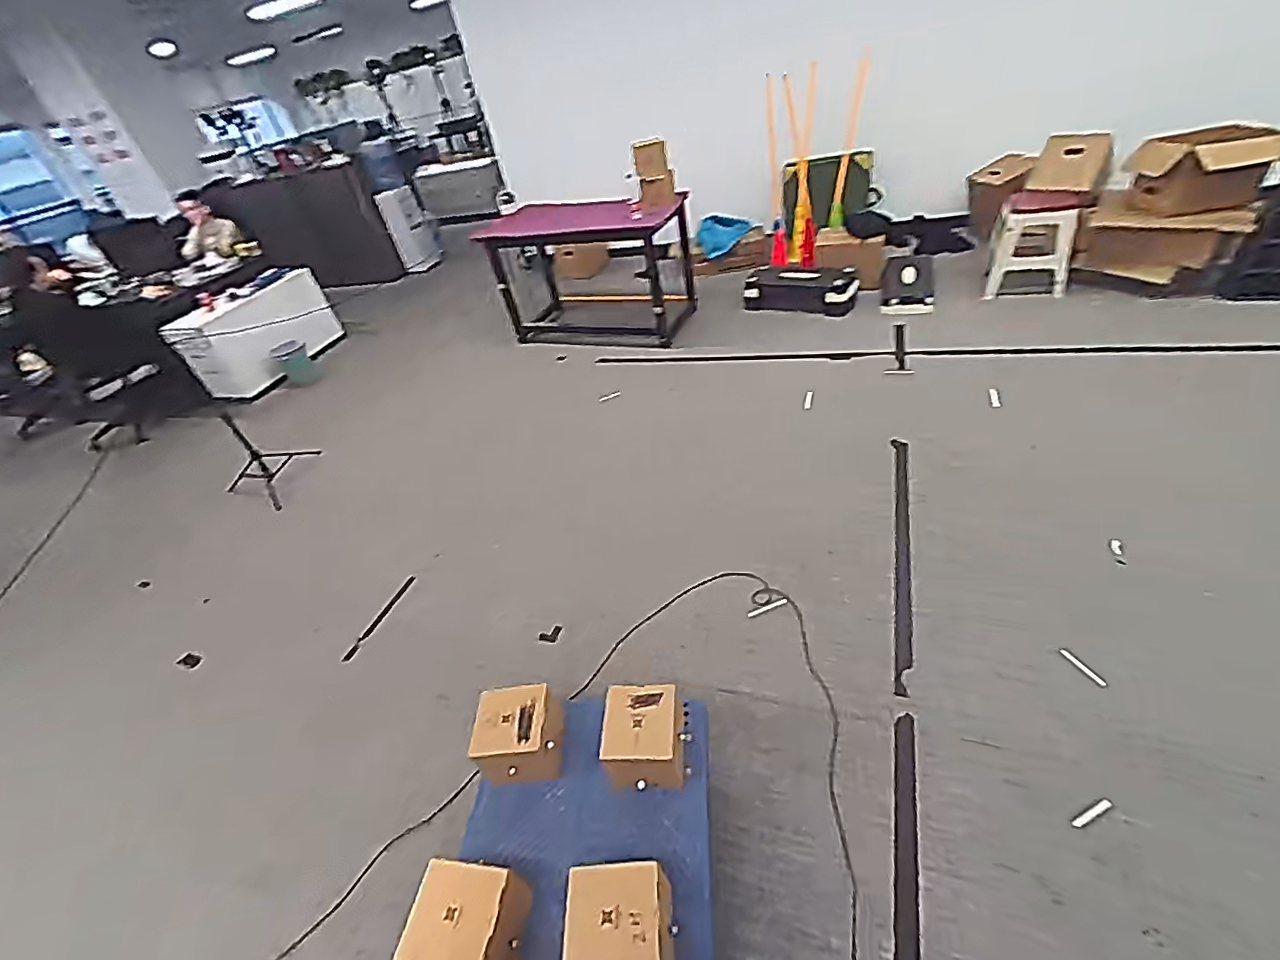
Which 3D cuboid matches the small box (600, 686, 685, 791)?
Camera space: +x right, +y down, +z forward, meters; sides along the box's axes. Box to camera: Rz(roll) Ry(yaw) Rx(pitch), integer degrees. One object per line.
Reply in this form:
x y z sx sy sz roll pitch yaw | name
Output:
0.013 0.614 1.287 0.168 0.176 0.179 -5 41 11 | small box

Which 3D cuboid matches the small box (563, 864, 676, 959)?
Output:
-0.033 0.850 1.017 0.179 0.176 0.168 -9 39 7 | small box

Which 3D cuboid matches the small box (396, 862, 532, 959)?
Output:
-0.335 0.885 1.066 0.179 0.176 0.168 -2 40 12 | small box
